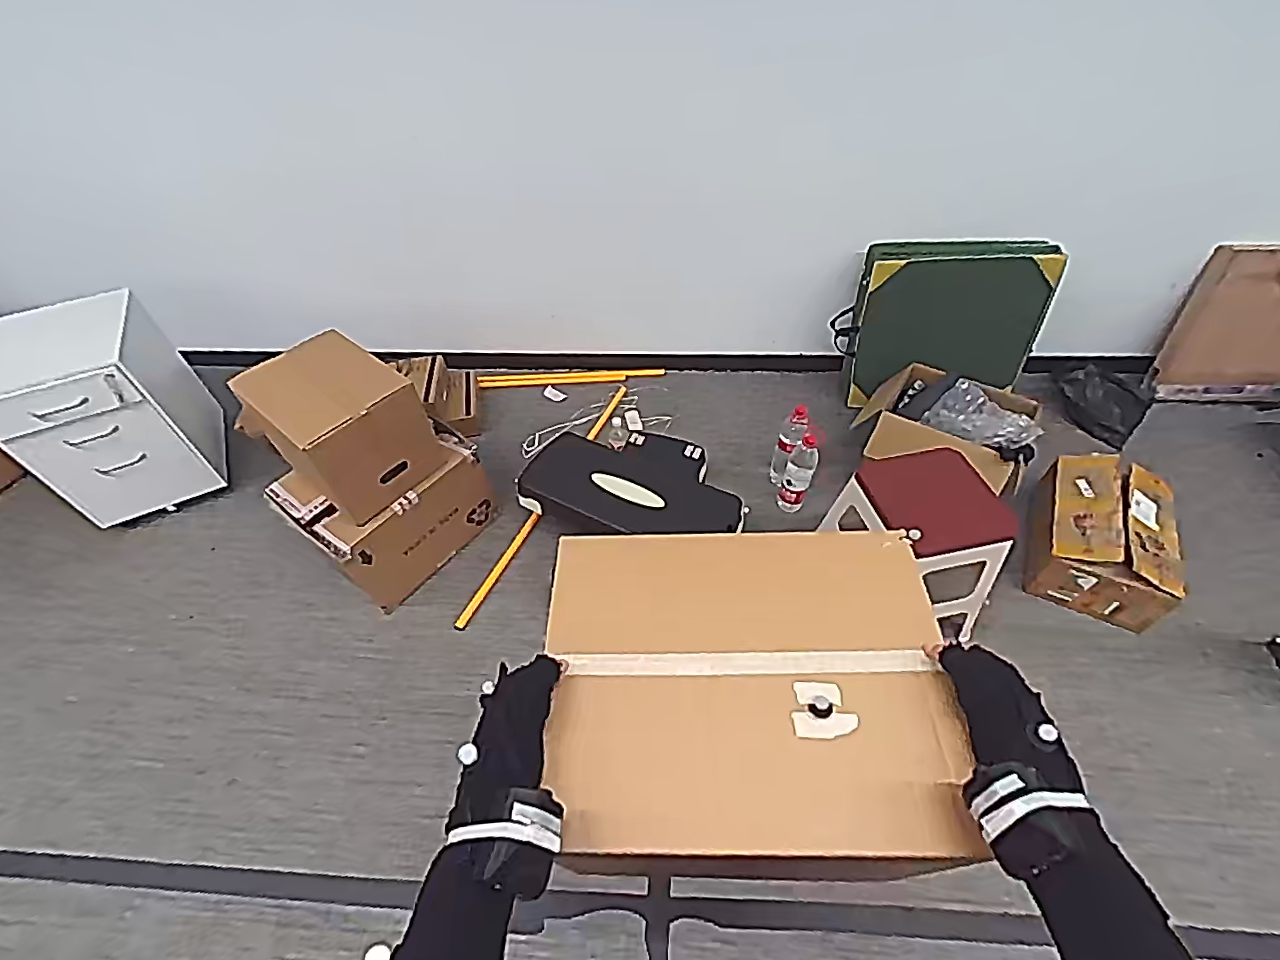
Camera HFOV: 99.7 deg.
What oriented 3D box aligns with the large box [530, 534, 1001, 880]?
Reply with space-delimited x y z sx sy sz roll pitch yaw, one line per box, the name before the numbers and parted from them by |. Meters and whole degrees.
large box | 0.108 0.283 0.660 0.408 0.320 0.320 -1 51 3
